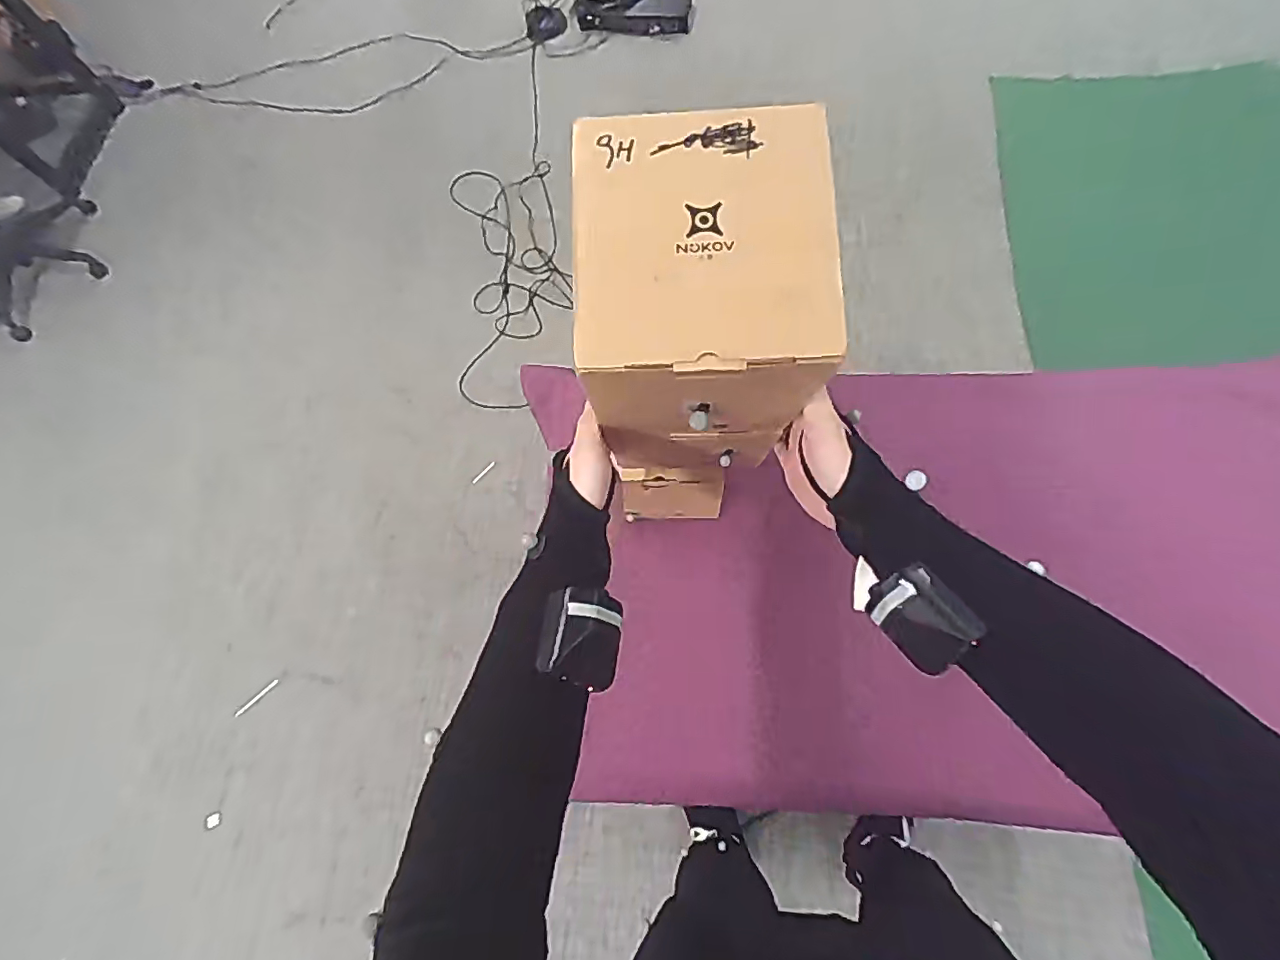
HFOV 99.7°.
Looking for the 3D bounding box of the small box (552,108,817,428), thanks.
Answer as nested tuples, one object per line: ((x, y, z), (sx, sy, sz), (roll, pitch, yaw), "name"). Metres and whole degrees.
((0.030, -0.141, 0.421), (0.168, 0.176, 0.179), (-2, 82, 3), "small box")

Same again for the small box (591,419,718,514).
((0.030, -0.052, 0.785), (0.168, 0.176, 0.179), (-1, 70, 6), "small box")
